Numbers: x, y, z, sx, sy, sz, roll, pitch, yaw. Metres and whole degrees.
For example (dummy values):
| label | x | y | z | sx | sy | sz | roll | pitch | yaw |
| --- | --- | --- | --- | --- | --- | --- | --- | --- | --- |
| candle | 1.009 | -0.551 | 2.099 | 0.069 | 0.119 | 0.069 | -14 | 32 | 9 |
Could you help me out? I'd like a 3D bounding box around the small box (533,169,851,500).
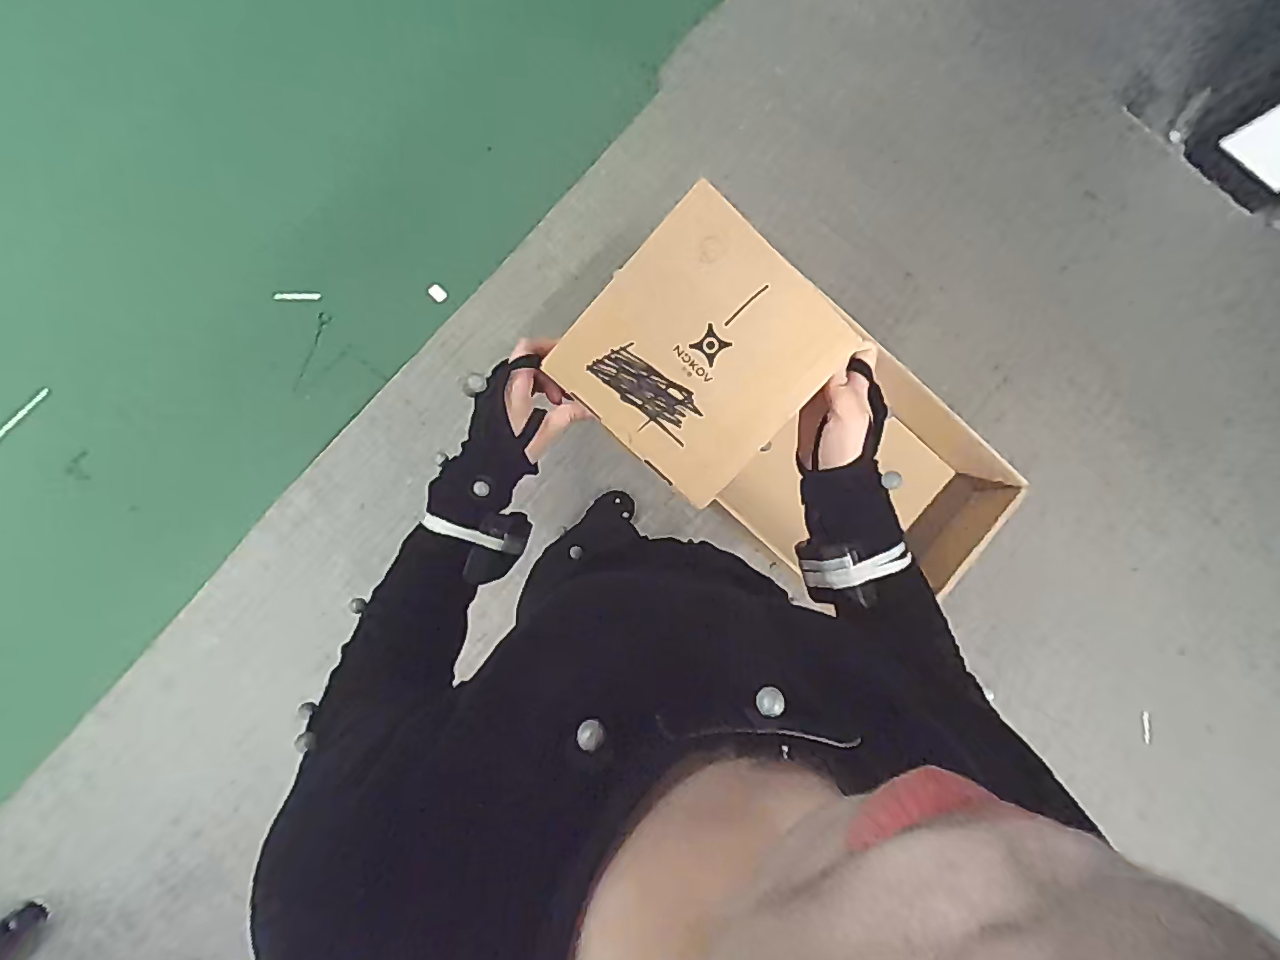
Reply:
| label | x | y | z | sx | sy | sz | roll | pitch | yaw |
| --- | --- | --- | --- | --- | --- | --- | --- | --- | --- |
| small box | 0.039 | -0.114 | 0.468 | 0.168 | 0.176 | 0.179 | 41 | 100 | -7 |
